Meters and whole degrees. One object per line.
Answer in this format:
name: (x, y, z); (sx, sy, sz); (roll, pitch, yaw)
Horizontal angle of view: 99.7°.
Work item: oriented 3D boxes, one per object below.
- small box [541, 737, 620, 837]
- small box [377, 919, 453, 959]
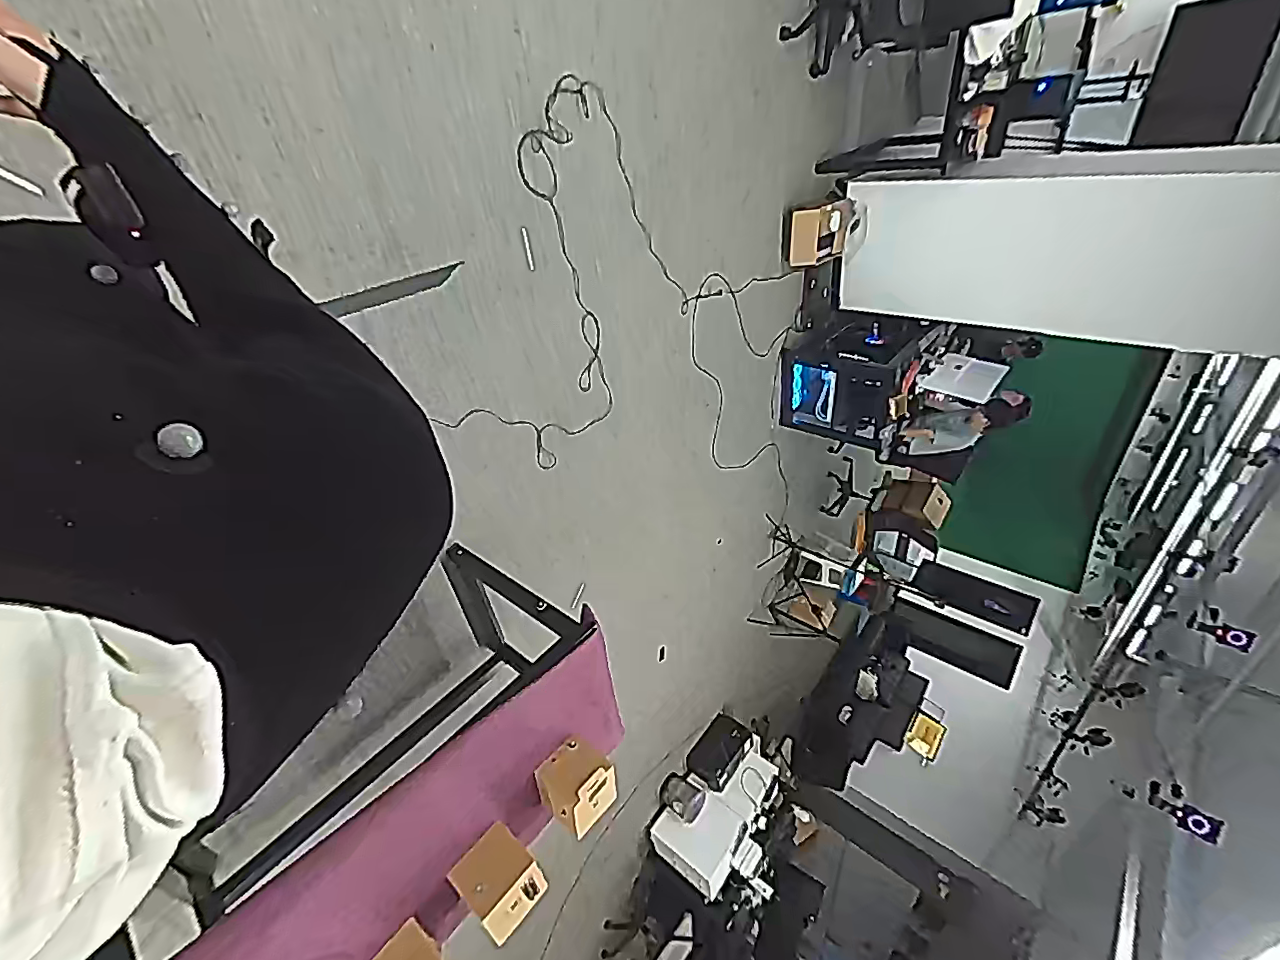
small box: (-0.182, 0.916, 1.633); (0.168, 0.176, 0.179); (-32, 130, -39)
small box: (-0.550, 1.234, 1.317); (0.179, 0.176, 0.168); (-38, 132, -37)
